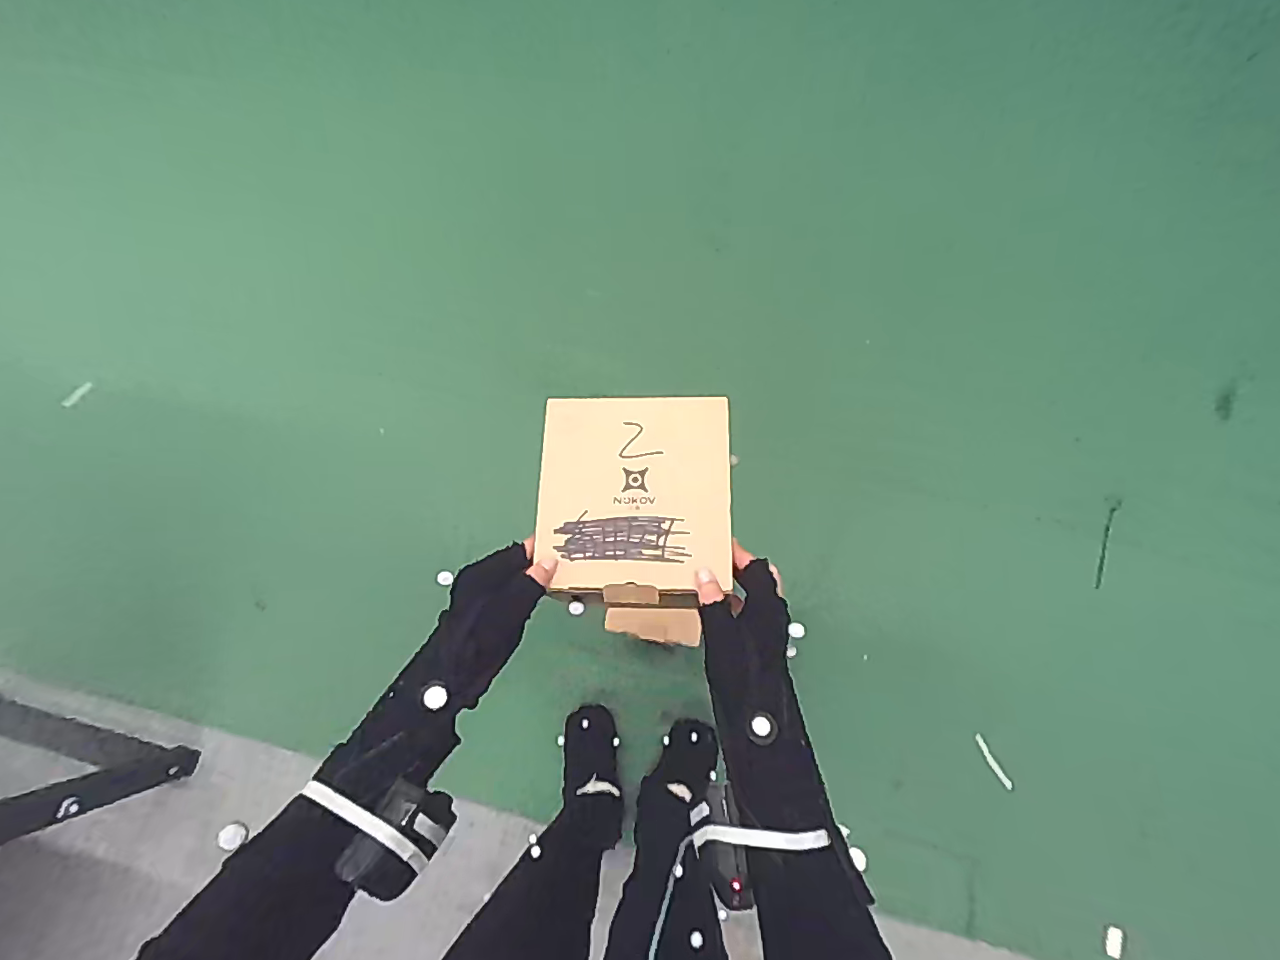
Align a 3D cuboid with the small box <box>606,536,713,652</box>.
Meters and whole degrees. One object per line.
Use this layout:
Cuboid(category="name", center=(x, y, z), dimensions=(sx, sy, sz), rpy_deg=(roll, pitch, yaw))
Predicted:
Cuboid(category="small box", center=(0.037, 0.215, 1.020), dimensions=(0.168, 0.176, 0.179), rpy_deg=(9, 77, 4))
